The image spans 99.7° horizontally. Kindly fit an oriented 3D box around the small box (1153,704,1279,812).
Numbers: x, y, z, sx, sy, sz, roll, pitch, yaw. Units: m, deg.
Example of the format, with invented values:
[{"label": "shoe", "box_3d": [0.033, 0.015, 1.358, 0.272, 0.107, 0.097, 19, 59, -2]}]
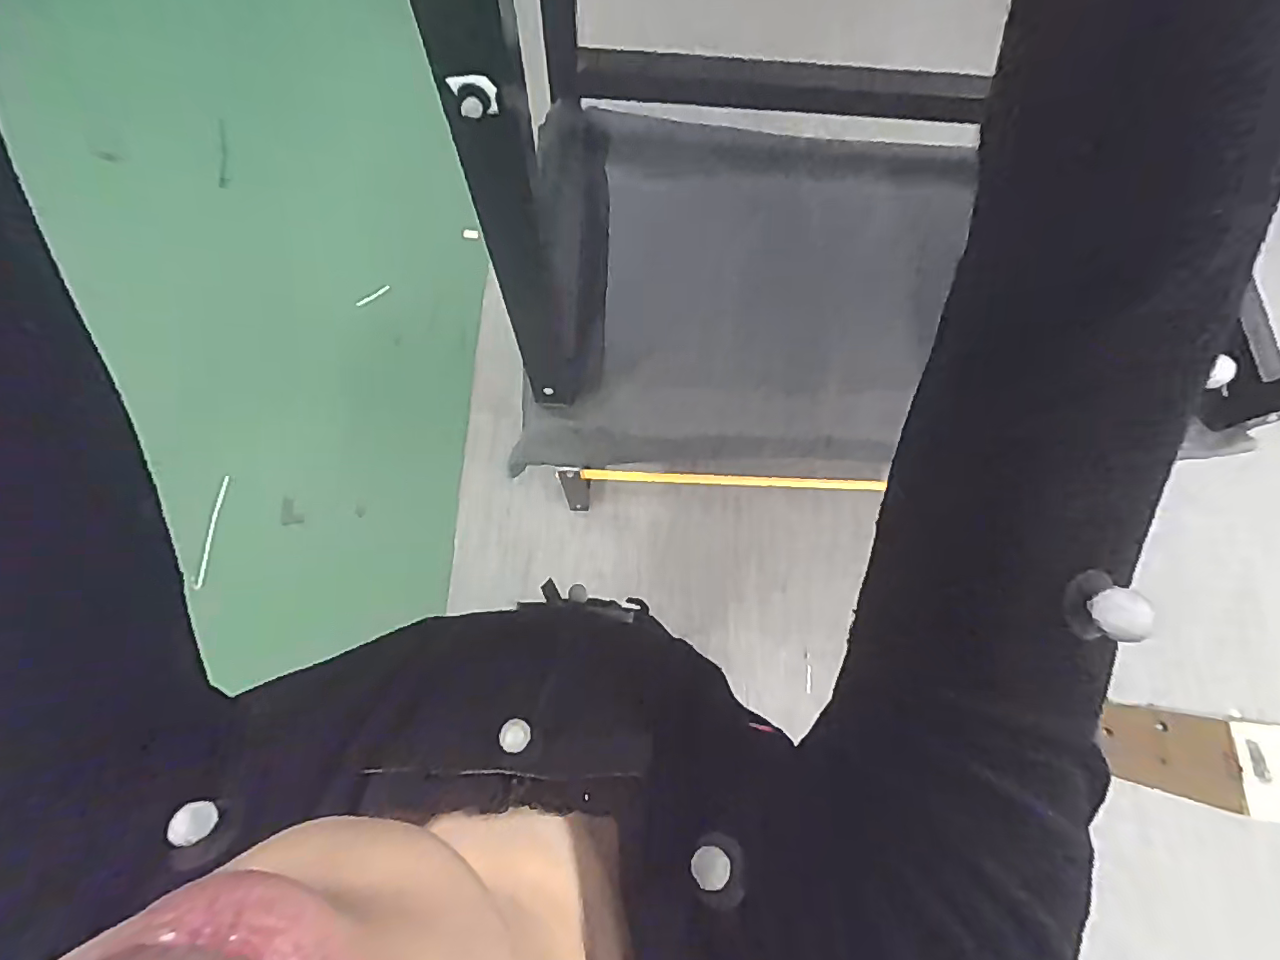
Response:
[{"label": "small box", "box_3d": [1.187, 0.553, 1.086, 0.179, 0.176, 0.168, 5, 75, -2]}]
